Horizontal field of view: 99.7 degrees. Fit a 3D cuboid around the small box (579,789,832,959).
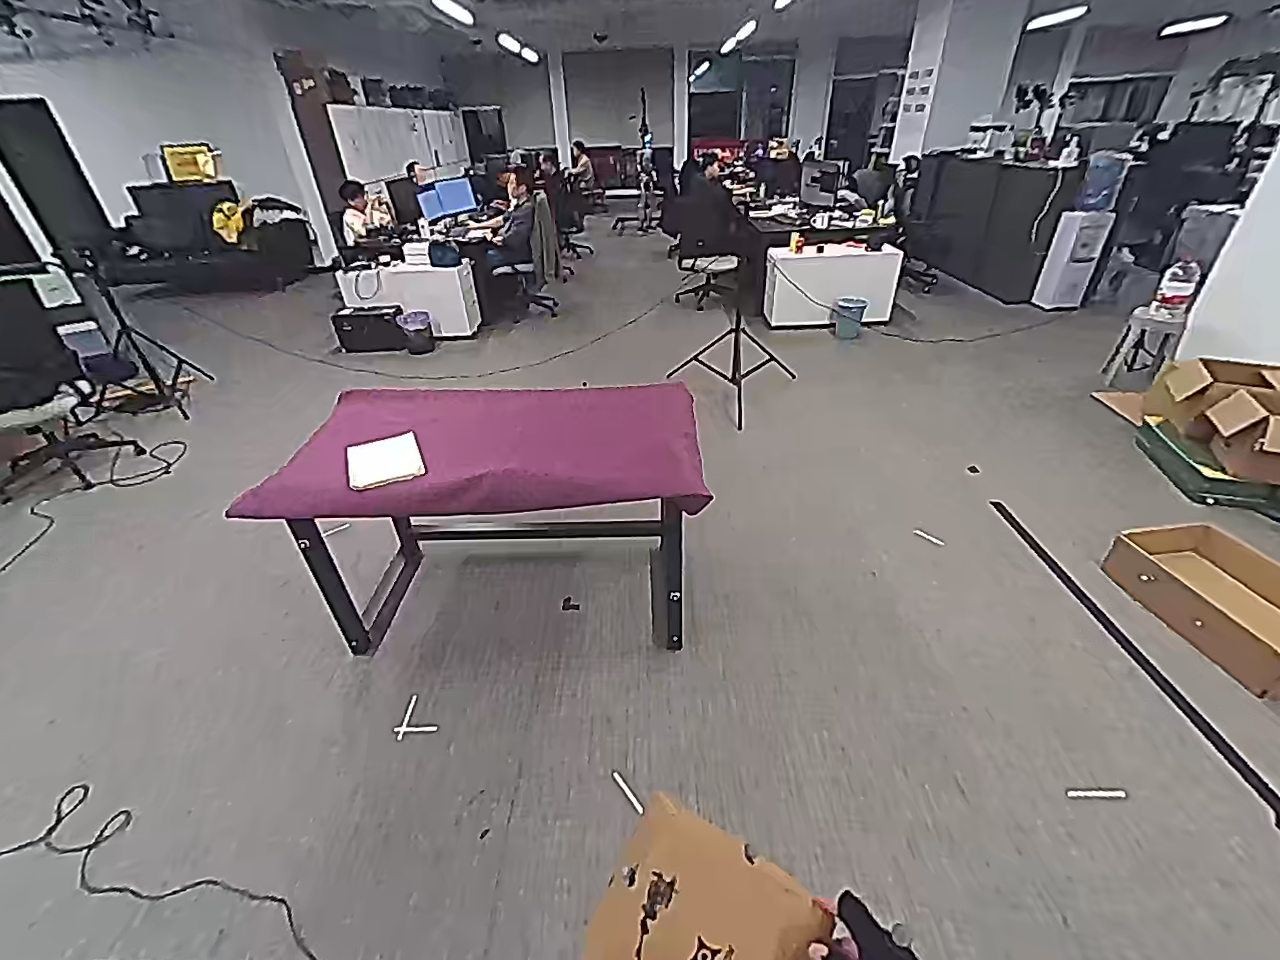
[{"bbox_3d":[0.054,0.437,0.540,0.179,0.176,0.168,28,67,8],"label":"small box"}]
